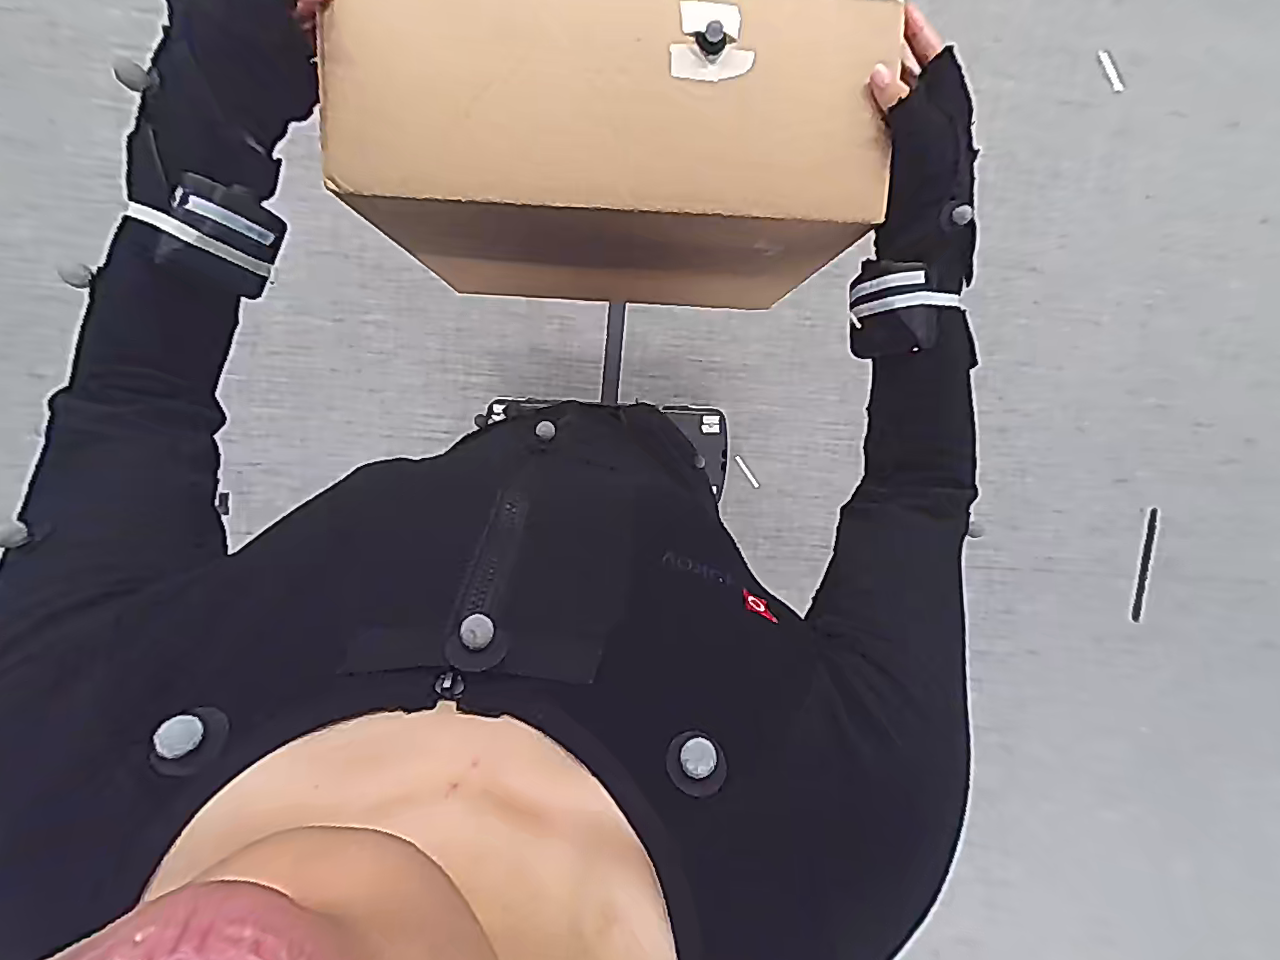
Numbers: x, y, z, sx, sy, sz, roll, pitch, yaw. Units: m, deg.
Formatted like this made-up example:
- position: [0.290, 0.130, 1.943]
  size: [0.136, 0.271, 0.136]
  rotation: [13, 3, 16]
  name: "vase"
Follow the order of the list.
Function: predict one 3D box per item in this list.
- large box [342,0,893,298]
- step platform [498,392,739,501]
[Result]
- position: [-0.019, -0.377, 0.535]
  size: [0.408, 0.320, 0.320]
  rotation: [2, 97, -3]
  name: "large box"
- position: [-0.059, -0.097, 1.564]
  size: [0.684, 0.204, 0.286]
  rotation: [2, 98, -5]
  name: "step platform"
